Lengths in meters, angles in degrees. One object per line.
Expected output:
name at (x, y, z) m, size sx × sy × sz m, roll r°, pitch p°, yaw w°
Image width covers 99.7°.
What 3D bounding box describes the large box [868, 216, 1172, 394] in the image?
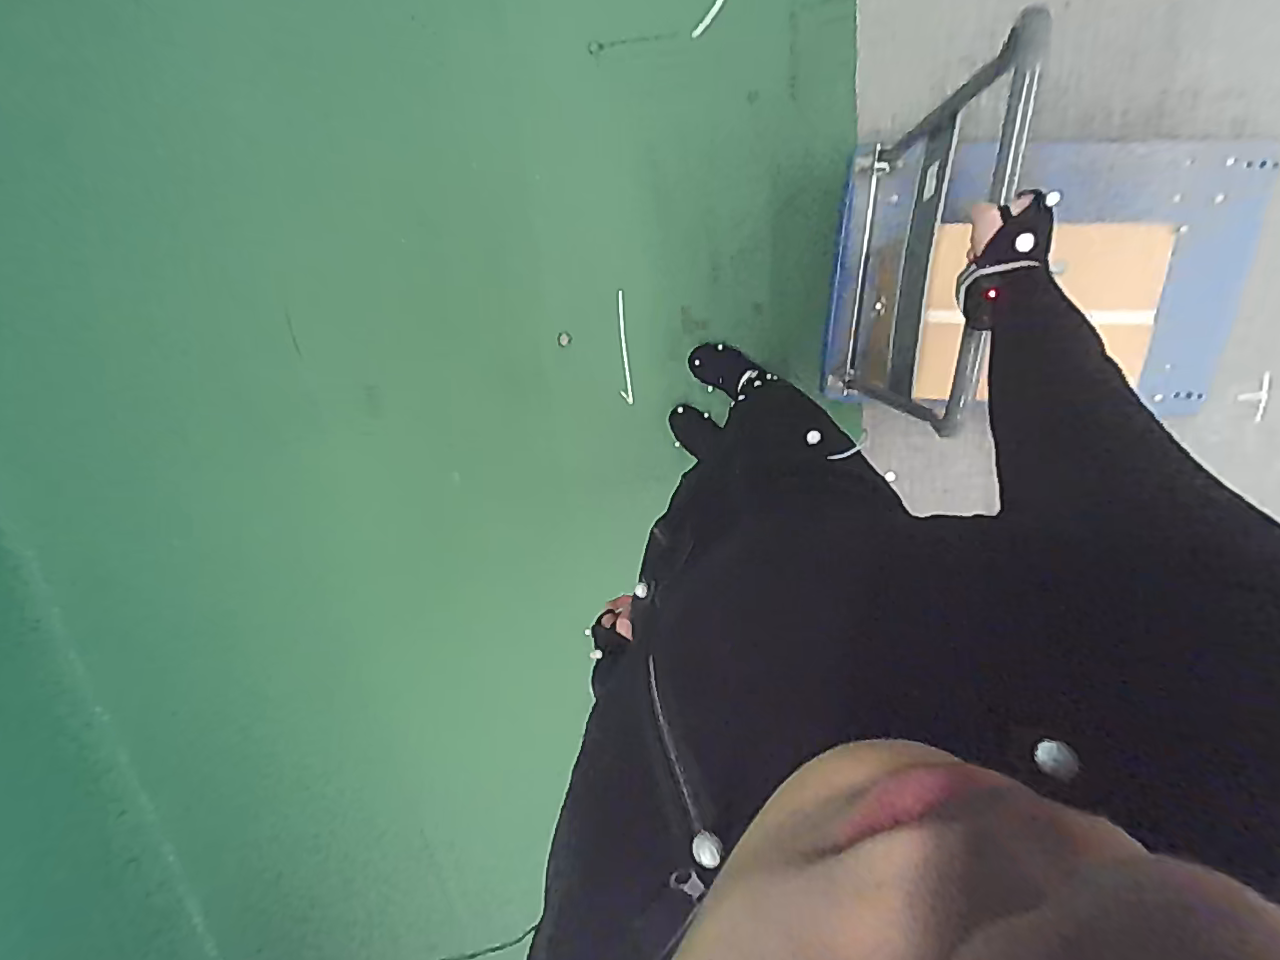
large box at (0.739, -0.355, 1.136) m, size 0.408 × 0.320 × 0.320 m, roll 2°, pitch 107°, yaw 6°
